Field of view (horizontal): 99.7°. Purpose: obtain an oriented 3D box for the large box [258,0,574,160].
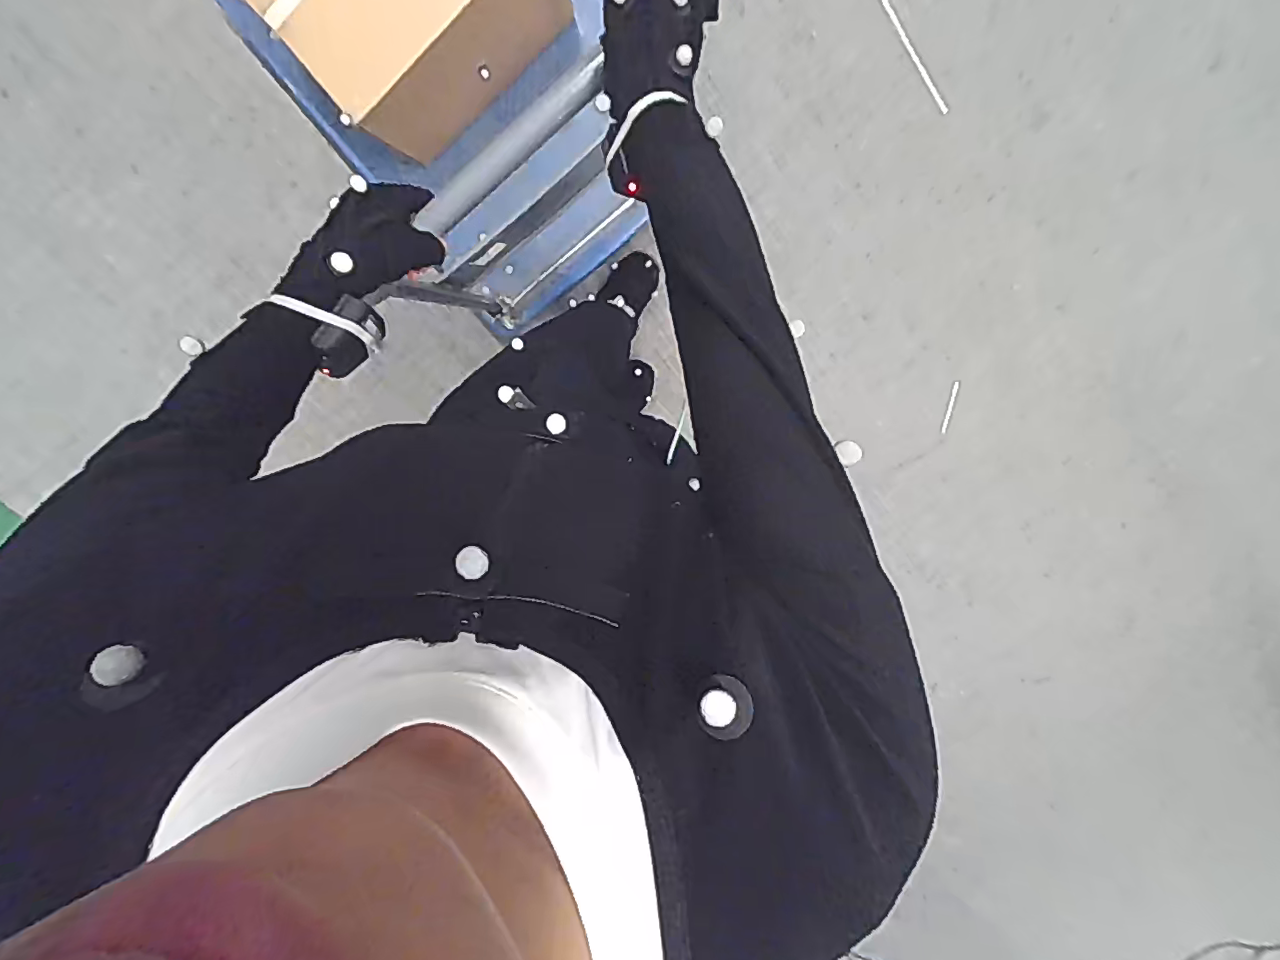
[{"bbox_3d":[-0.364,-0.822,0.881,0.408,0.320,0.320,-38,106,12],"label":"large box"}]
